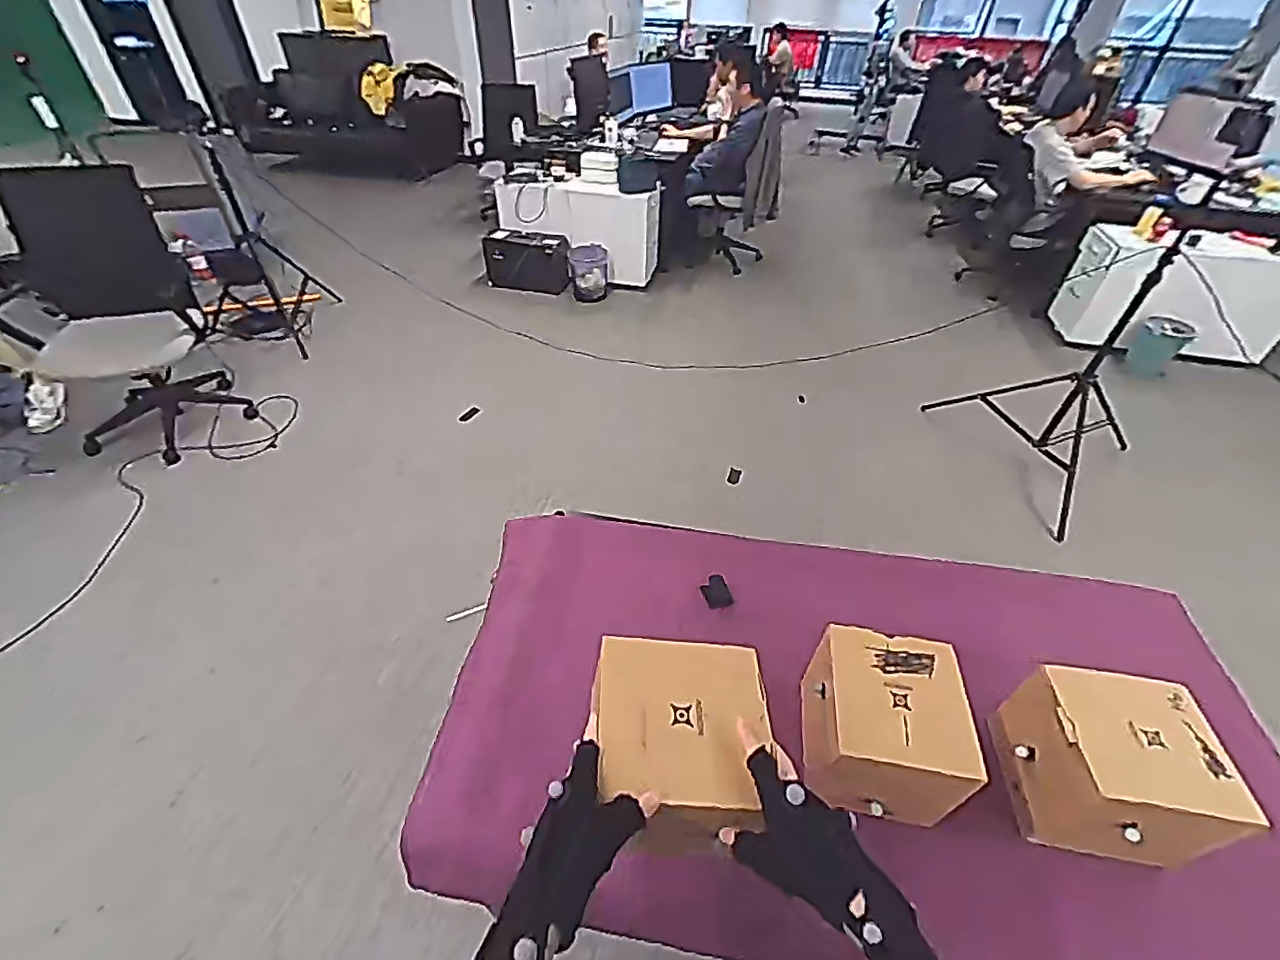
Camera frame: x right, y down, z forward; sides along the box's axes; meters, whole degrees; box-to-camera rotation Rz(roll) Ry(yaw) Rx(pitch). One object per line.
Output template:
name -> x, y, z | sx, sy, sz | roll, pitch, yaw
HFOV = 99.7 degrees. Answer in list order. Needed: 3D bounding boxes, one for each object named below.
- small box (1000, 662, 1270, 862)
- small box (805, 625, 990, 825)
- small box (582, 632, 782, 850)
small box -> 0.601, 0.363, 0.697 | 0.179, 0.176, 0.168 | 7, 42, 7
small box -> 0.325, 0.327, 0.728 | 0.168, 0.176, 0.179 | 7, 42, 7
small box -> 0.034, 0.291, 0.599 | 0.179, 0.176, 0.168 | 6, 41, -5
